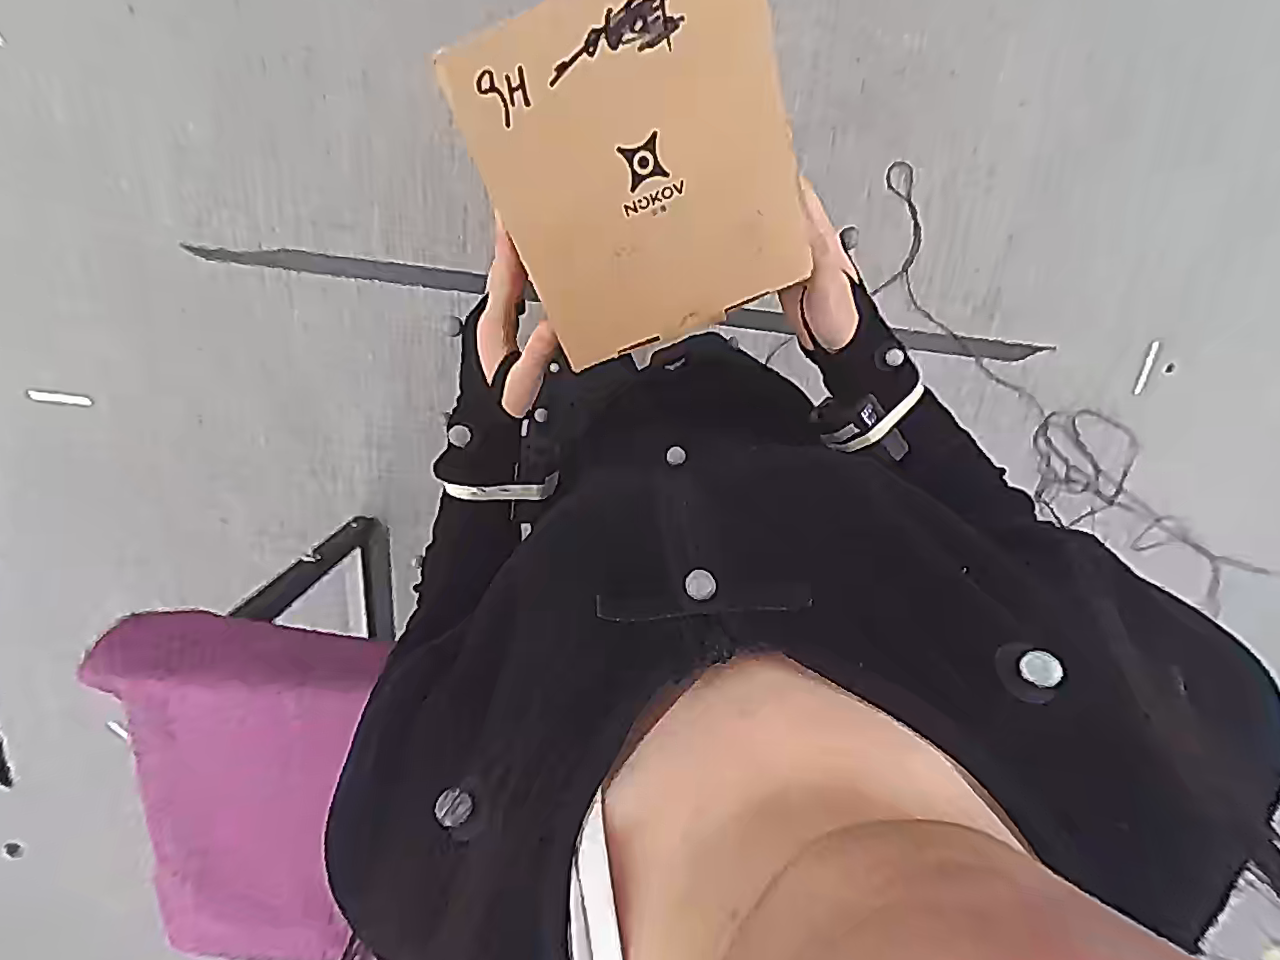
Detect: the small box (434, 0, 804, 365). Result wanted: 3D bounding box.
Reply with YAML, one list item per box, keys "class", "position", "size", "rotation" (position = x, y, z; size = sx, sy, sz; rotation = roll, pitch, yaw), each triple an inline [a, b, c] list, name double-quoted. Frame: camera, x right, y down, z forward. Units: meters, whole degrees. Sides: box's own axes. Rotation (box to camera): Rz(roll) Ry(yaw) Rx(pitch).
- class: "small box"
  position: [-0.009, -0.210, 0.369]
  size: [0.168, 0.176, 0.179]
  rotation: [-21, 123, 3]

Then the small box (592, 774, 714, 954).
- class: "small box"
  position: [0.013, 0.602, 0.862]
  size: [0.168, 0.176, 0.179]
  rotation: [5, 108, -3]
